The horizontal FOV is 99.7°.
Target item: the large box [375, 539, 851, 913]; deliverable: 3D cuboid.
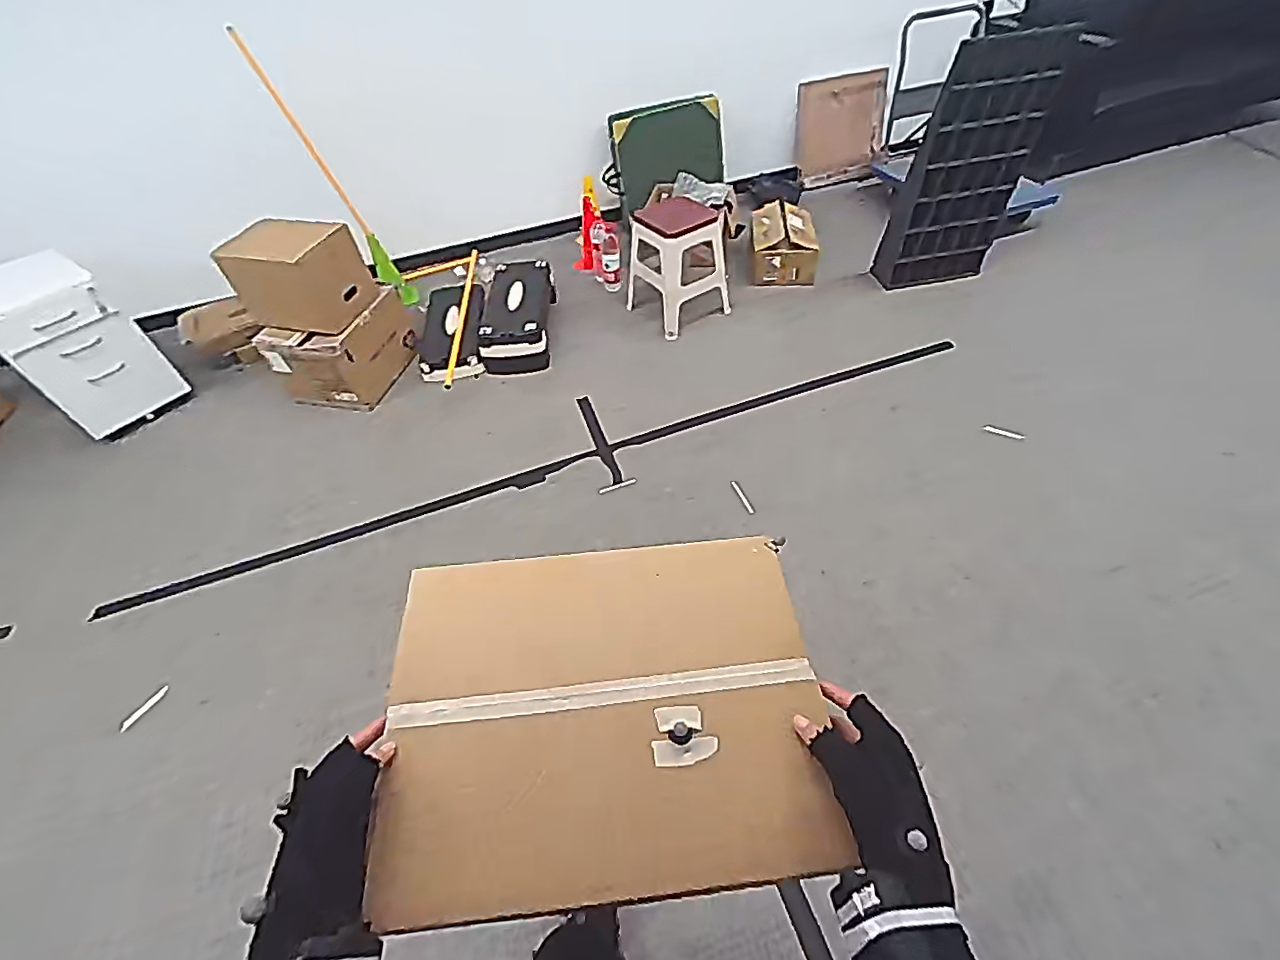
[{"bbox_3d":[-0.033,0.298,0.650,0.408,0.320,0.320,-4,52,-3],"label":"large box"}]
